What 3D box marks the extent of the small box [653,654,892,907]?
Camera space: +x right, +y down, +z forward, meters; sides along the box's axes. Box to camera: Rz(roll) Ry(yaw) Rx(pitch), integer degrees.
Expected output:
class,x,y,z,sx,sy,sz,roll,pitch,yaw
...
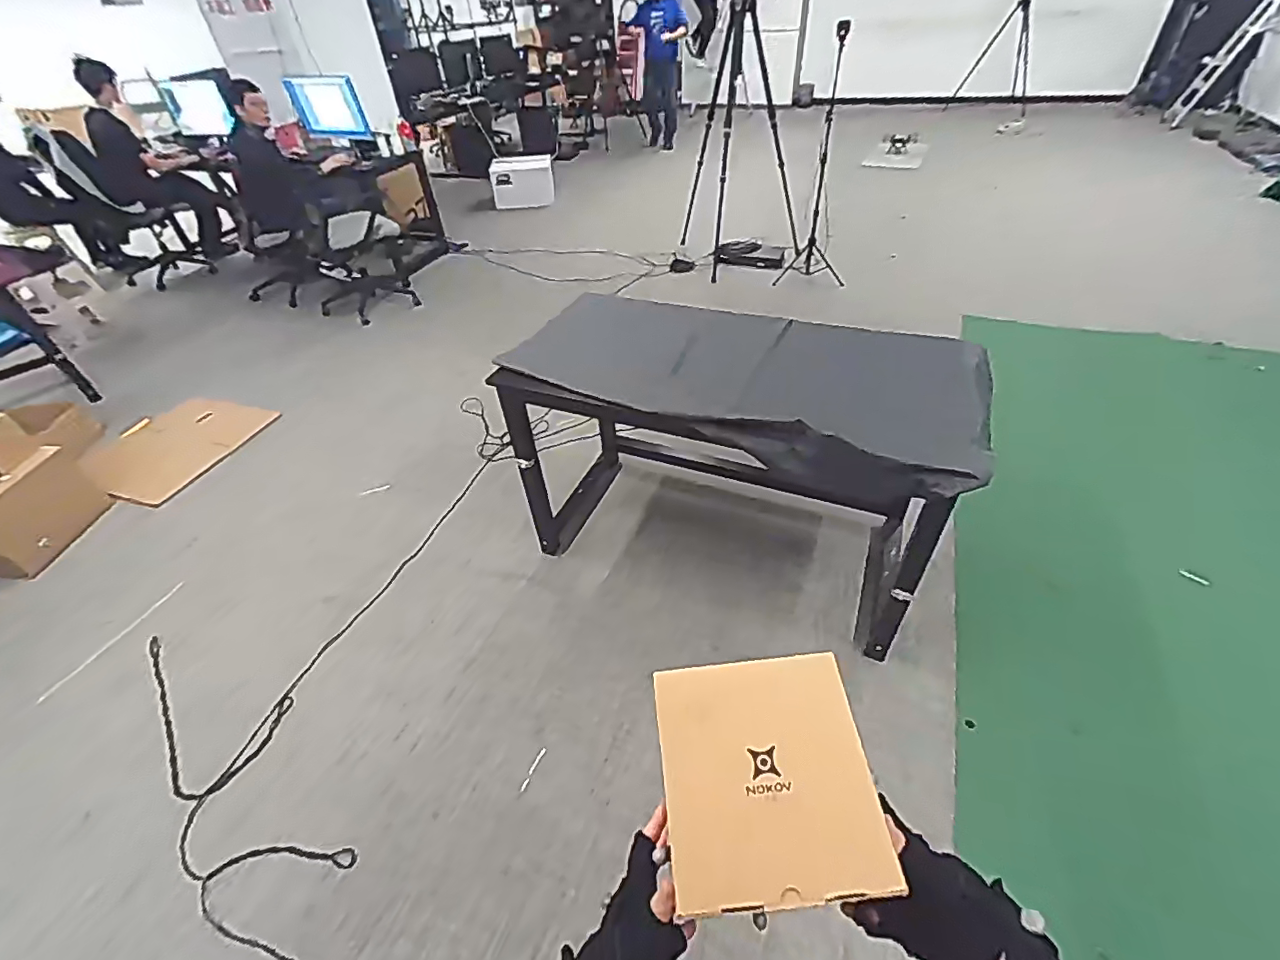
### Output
class,x,y,z,sx,sy,sz,roll,pitch,yaw
small box,0.100,0.283,0.506,0.168,0.176,0.179,-5,53,-1
